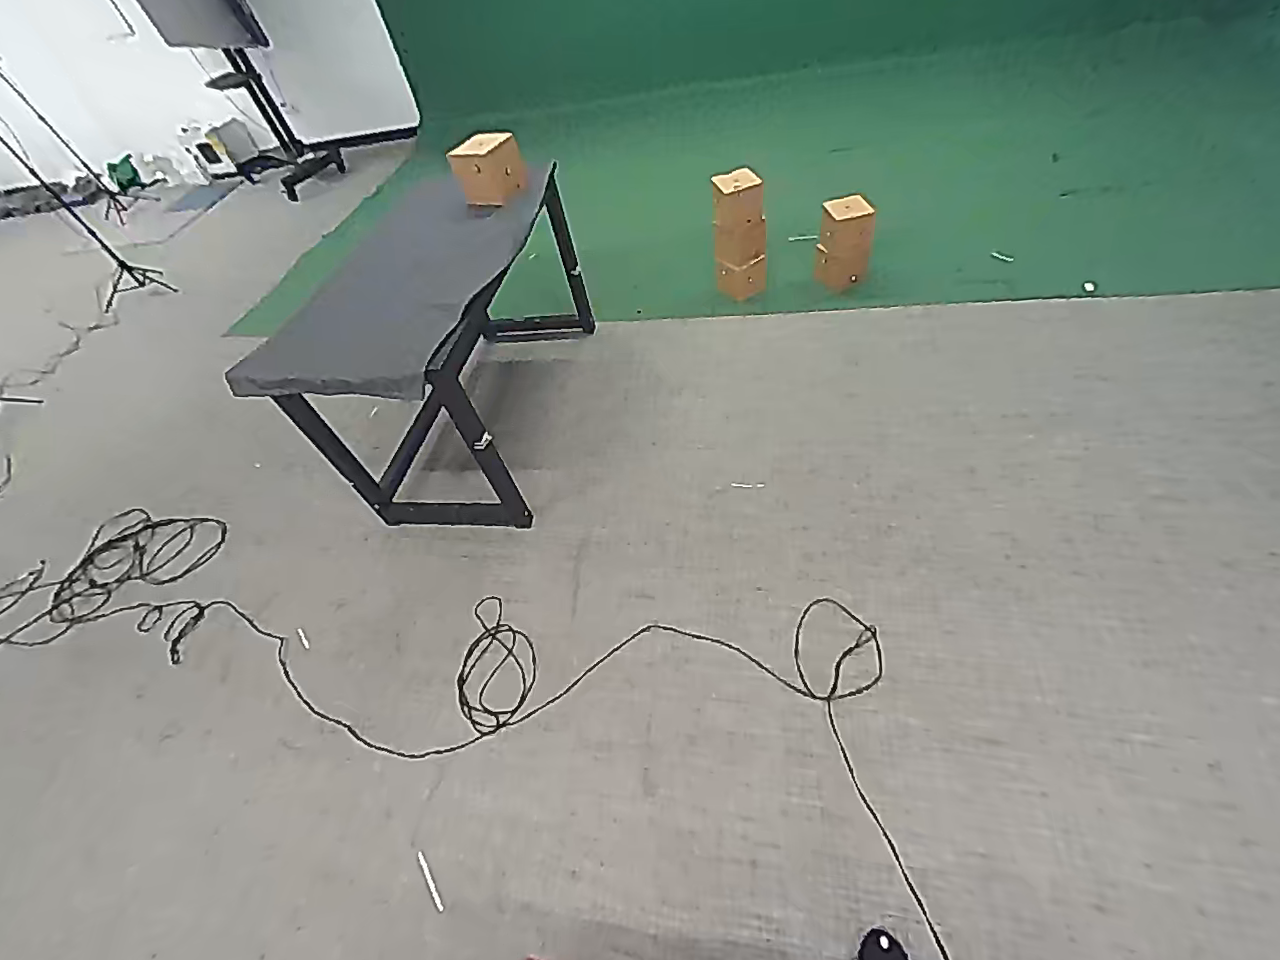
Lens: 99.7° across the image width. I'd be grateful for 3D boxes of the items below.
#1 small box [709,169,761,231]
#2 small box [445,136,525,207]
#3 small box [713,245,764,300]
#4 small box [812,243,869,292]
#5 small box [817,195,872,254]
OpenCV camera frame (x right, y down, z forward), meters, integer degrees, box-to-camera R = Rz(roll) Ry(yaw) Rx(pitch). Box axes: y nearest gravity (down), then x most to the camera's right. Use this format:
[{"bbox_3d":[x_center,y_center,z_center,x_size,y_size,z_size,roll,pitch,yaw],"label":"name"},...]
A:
[{"bbox_3d":[0.405,-1.194,2.312,0.168,0.176,0.179,-19,49,-3],"label":"small box"},{"bbox_3d":[-0.532,-1.073,1.888,0.179,0.176,0.168,16,56,27],"label":"small box"},{"bbox_3d":[0.467,-0.973,2.549,0.168,0.176,0.179,-34,51,-15],"label":"small box"},{"bbox_3d":[0.904,-0.988,2.460,0.168,0.176,0.179,-29,52,-11],"label":"small box"},{"bbox_3d":[0.881,-1.097,2.341,0.168,0.176,0.179,-12,49,1],"label":"small box"}]
